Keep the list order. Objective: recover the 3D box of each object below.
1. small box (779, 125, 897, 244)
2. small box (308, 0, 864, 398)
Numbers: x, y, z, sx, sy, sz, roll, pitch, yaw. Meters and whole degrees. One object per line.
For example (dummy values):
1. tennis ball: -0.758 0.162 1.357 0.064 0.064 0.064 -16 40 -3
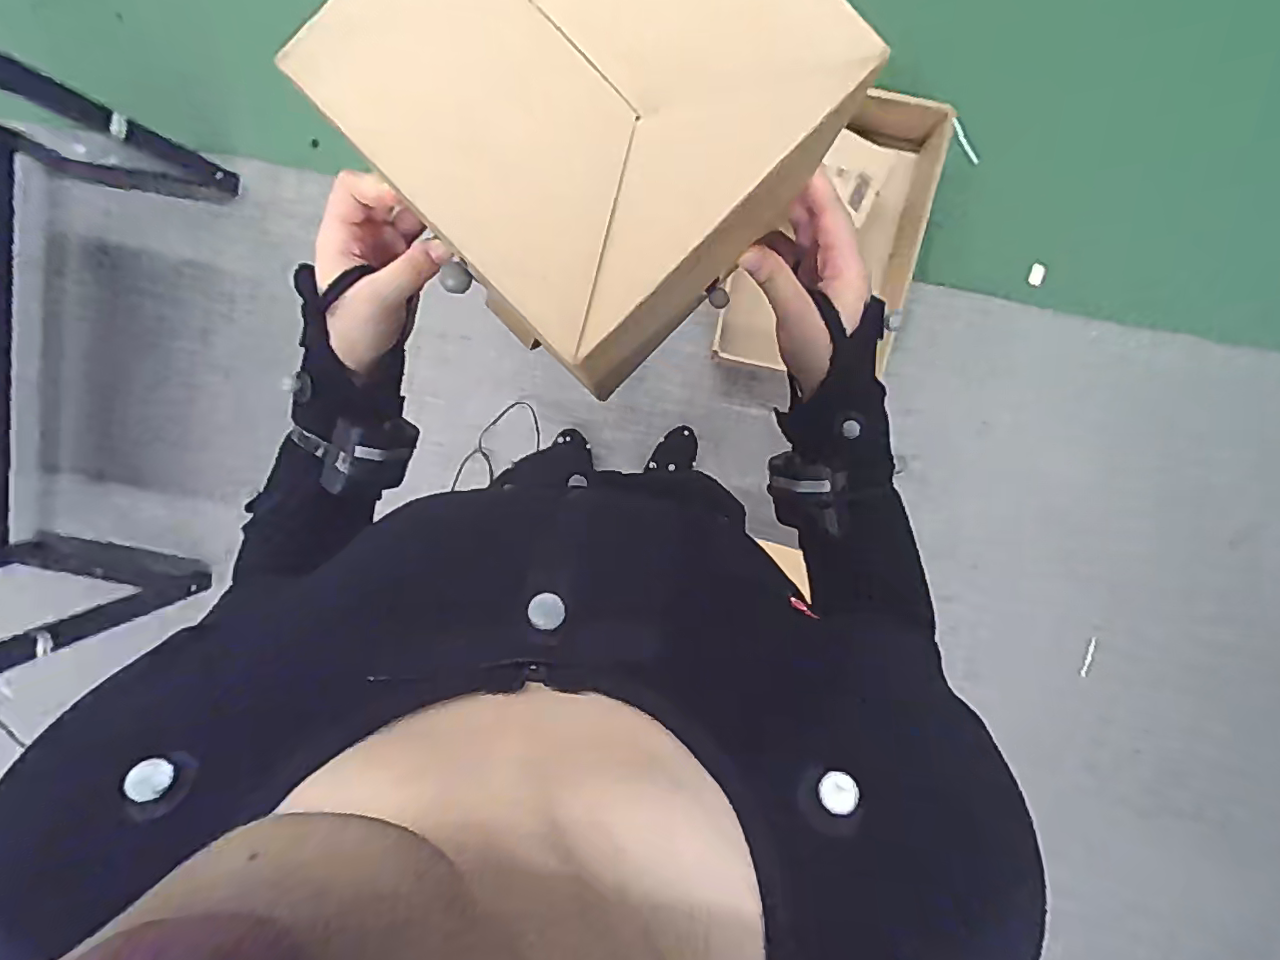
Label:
1. small box: 0.439 -0.666 1.239 0.179 0.176 0.168 27 99 -2
2. small box: -0.020 -0.166 0.290 0.168 0.176 0.179 44 92 -2
